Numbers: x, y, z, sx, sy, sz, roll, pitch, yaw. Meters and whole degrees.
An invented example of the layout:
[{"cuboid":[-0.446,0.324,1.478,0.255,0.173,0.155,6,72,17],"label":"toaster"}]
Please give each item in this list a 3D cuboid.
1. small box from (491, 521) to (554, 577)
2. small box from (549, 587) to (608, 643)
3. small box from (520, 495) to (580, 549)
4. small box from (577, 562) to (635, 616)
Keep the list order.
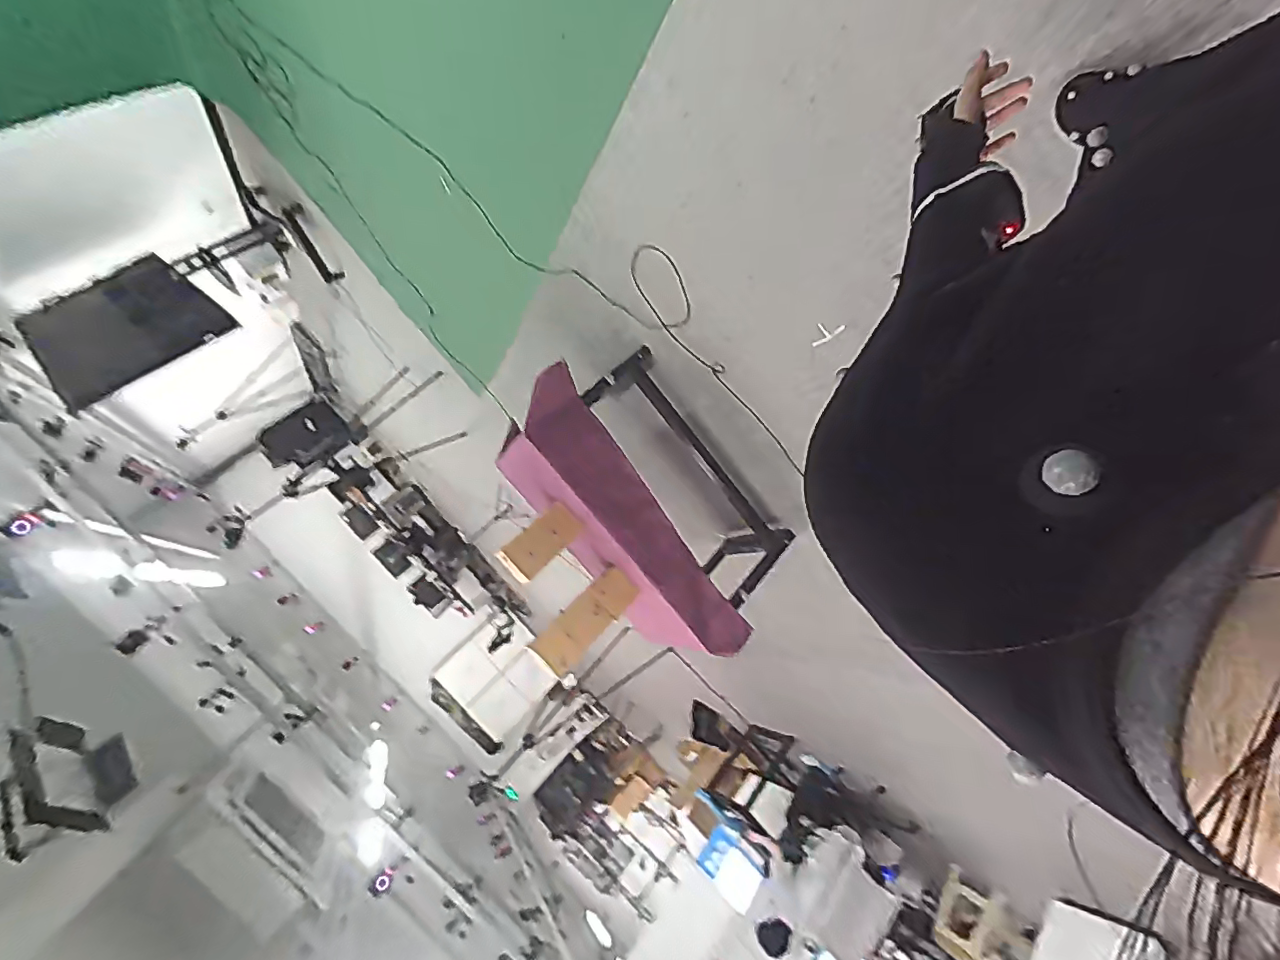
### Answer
[{"cuboid":[-0.501,0.290,2.306,0.179,0.176,0.168,50,154,-8],"label":"small box"},{"cuboid":[-0.266,0.586,2.369,0.168,0.176,0.179,51,154,-6],"label":"small box"},{"cuboid":[-0.392,0.188,2.377,0.179,0.176,0.168,52,153,-8],"label":"small box"},{"cuboid":[-0.151,0.490,2.437,0.179,0.176,0.168,51,154,-6],"label":"small box"}]
